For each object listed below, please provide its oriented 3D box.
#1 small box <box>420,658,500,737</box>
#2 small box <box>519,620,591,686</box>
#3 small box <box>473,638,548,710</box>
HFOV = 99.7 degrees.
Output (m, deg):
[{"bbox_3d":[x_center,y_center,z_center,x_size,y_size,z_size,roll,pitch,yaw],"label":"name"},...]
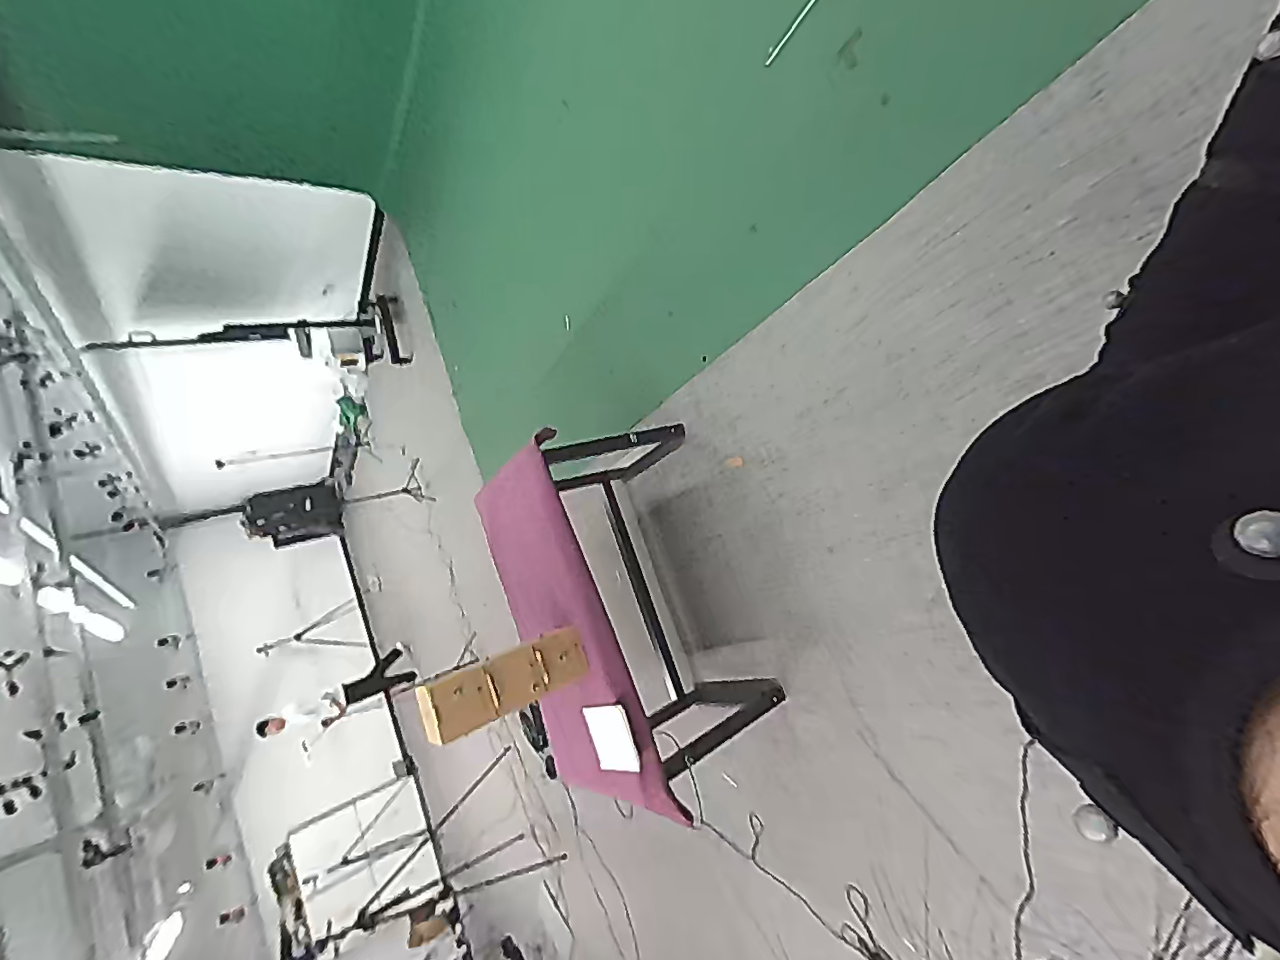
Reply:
[{"bbox_3d":[-0.533,0.641,1.613,0.179,0.176,0.168,-29,77,53],"label":"small box"},{"bbox_3d":[-0.283,0.580,1.816,0.179,0.176,0.168,-30,77,52],"label":"small box"},{"bbox_3d":[-0.409,0.611,1.714,0.179,0.176,0.168,-30,77,54],"label":"small box"}]
